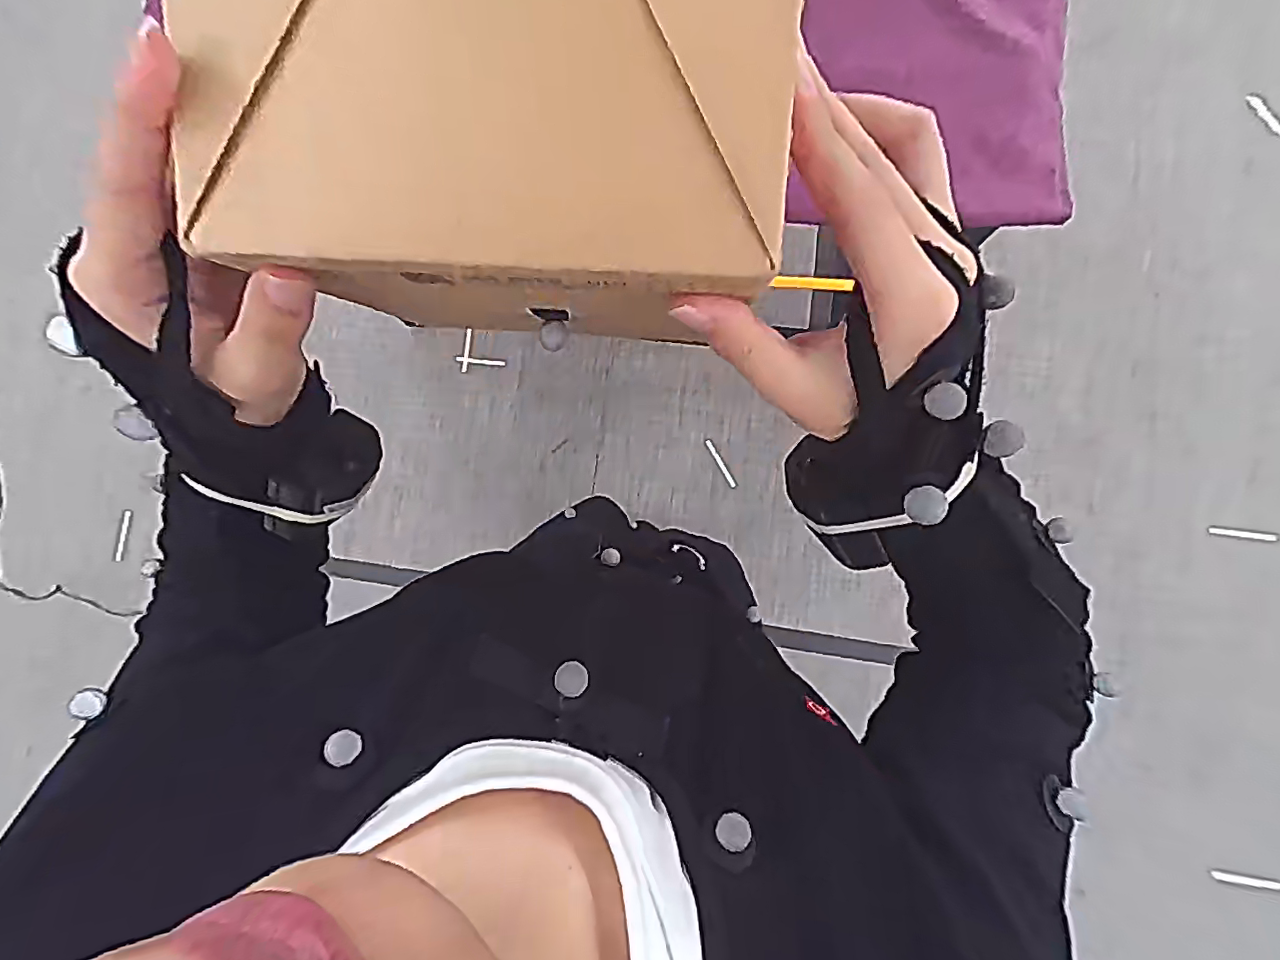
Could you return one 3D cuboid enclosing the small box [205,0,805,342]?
[{"bbox_3d":[-0.036,-0.157,0.218,0.168,0.176,0.179,3,99,2],"label":"small box"}]
